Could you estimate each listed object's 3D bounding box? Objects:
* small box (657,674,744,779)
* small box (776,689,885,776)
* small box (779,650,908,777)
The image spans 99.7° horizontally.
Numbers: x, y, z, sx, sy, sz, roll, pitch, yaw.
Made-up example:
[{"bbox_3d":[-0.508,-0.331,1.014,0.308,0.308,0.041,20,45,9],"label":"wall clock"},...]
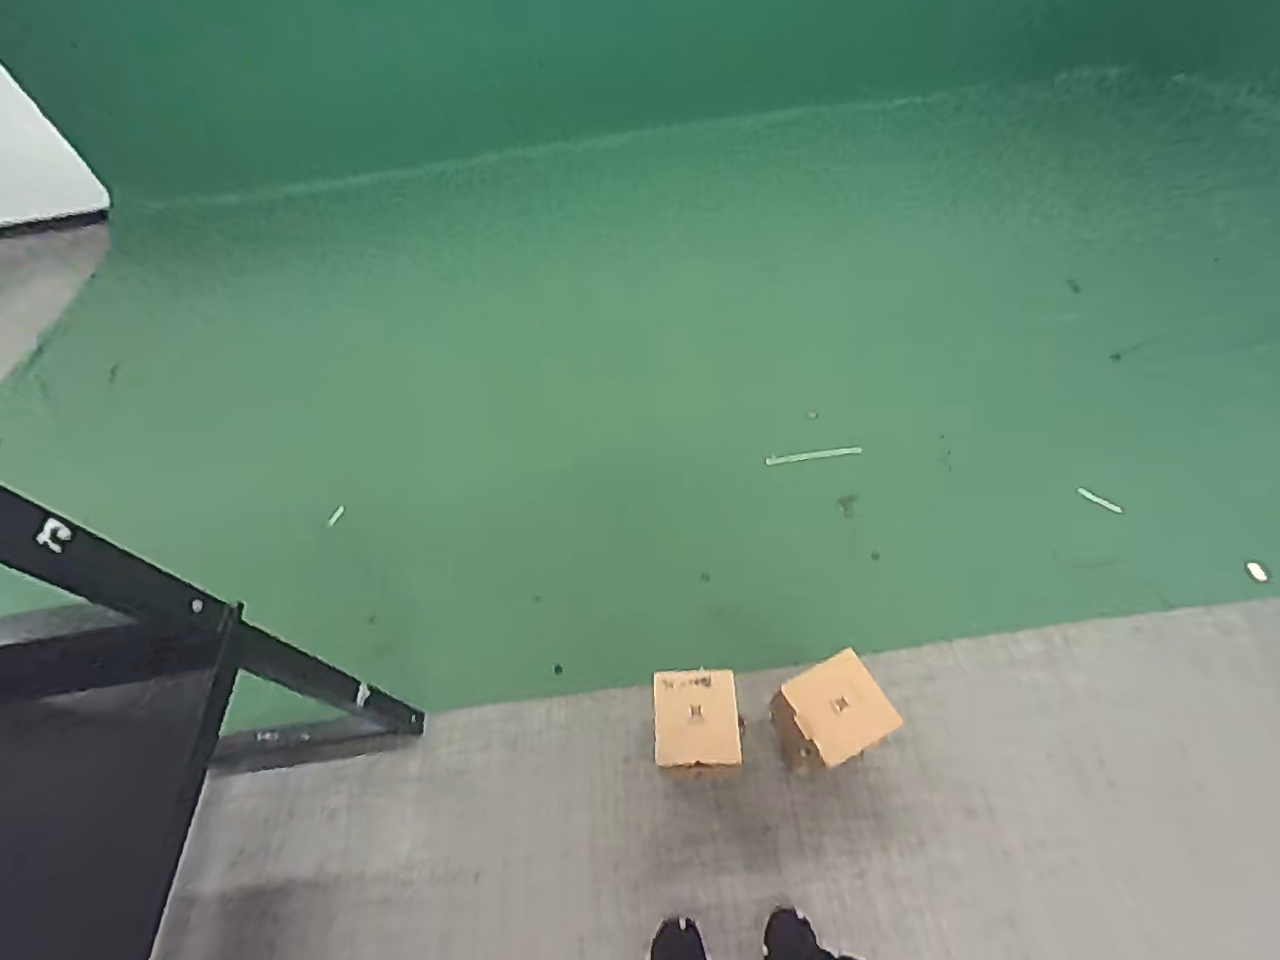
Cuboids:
[{"bbox_3d":[0.124,0.512,1.114,0.168,0.176,0.179,-4,55,6],"label":"small box"},{"bbox_3d":[0.424,0.564,1.242,0.179,0.176,0.168,-14,55,-4],"label":"small box"},{"bbox_3d":[0.401,0.482,1.103,0.179,0.176,0.168,-24,58,-11],"label":"small box"}]
